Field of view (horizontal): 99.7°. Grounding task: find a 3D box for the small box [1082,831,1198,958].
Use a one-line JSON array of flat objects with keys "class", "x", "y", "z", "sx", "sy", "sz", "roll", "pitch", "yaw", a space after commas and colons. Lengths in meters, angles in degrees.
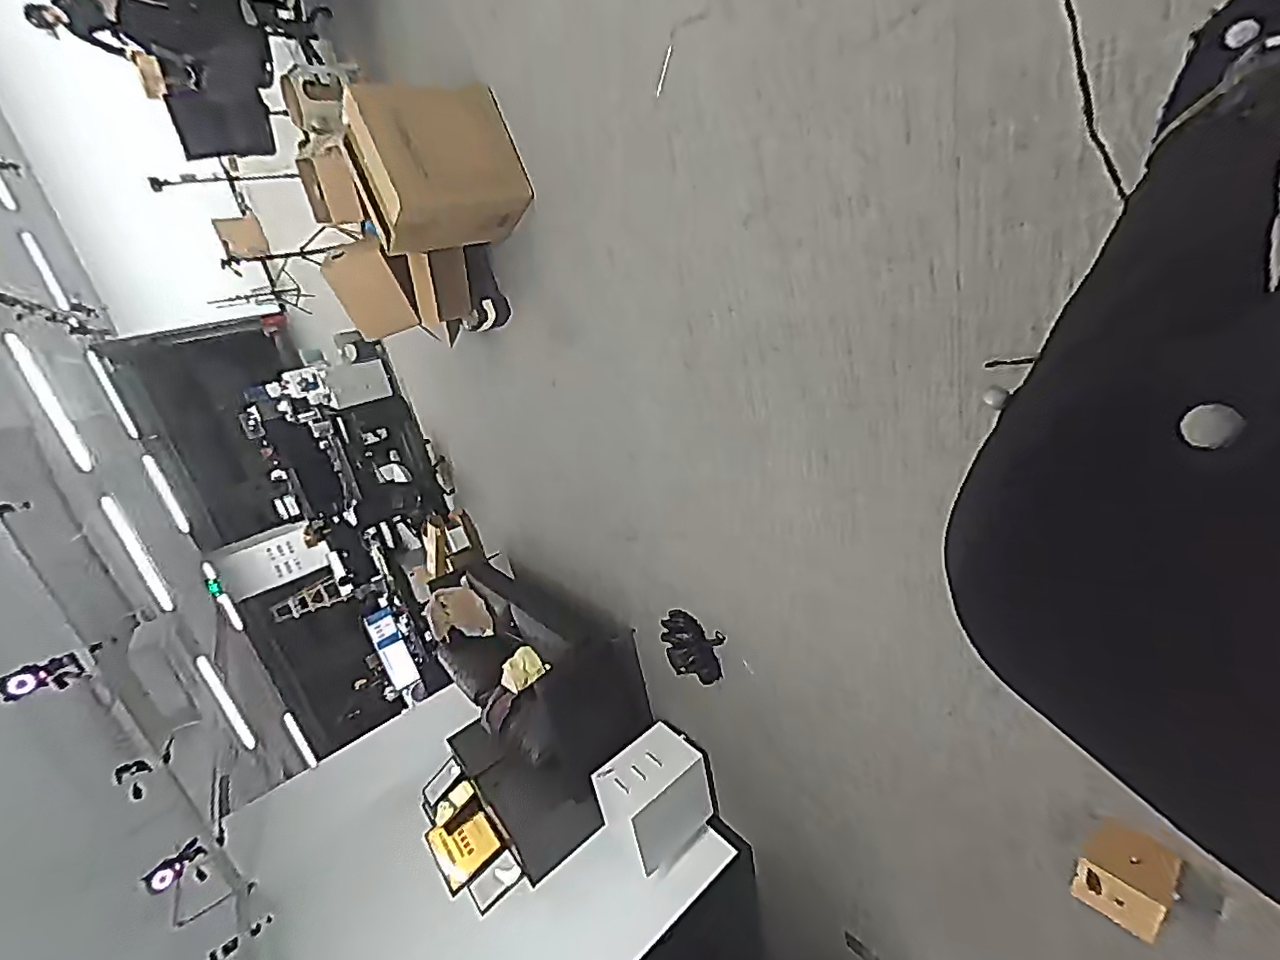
[{"class": "small box", "x": 1.301, "y": 1.064, "z": 1.411, "sx": 0.179, "sy": 0.176, "sz": 0.168, "roll": 19, "pitch": 127, "yaw": 48}]
